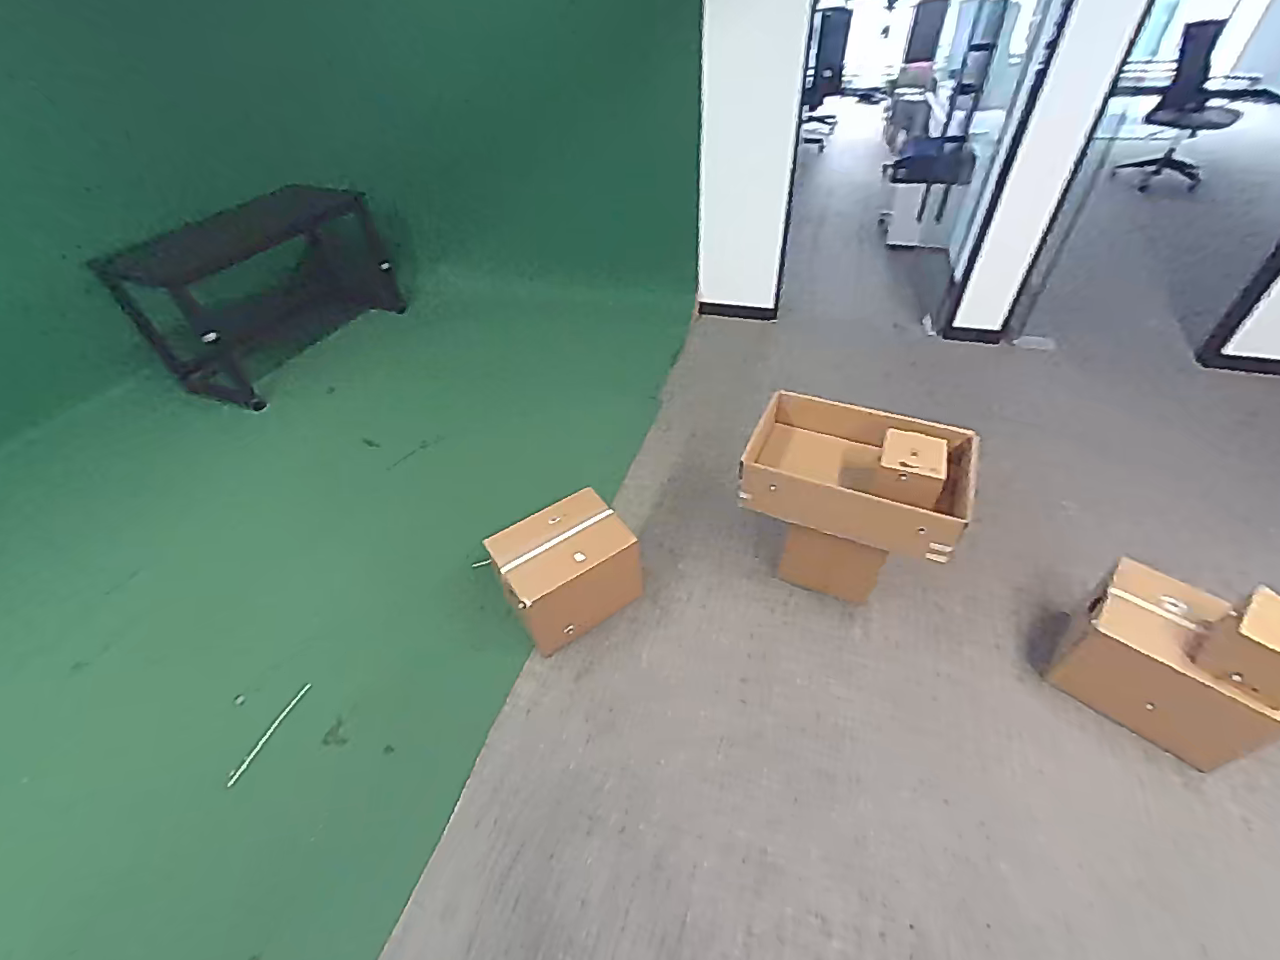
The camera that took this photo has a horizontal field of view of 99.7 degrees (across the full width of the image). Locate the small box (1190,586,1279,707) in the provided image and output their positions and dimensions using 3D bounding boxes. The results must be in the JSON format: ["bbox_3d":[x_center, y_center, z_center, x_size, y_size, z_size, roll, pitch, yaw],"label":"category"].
[{"bbox_3d":[1.466,0.392,1.275,0.179,0.176,0.168,-35,52,-25],"label":"small box"}]

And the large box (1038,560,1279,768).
[{"bbox_3d":[1.441,0.505,1.512,0.408,0.320,0.320,30,53,31],"label":"large box"}]
